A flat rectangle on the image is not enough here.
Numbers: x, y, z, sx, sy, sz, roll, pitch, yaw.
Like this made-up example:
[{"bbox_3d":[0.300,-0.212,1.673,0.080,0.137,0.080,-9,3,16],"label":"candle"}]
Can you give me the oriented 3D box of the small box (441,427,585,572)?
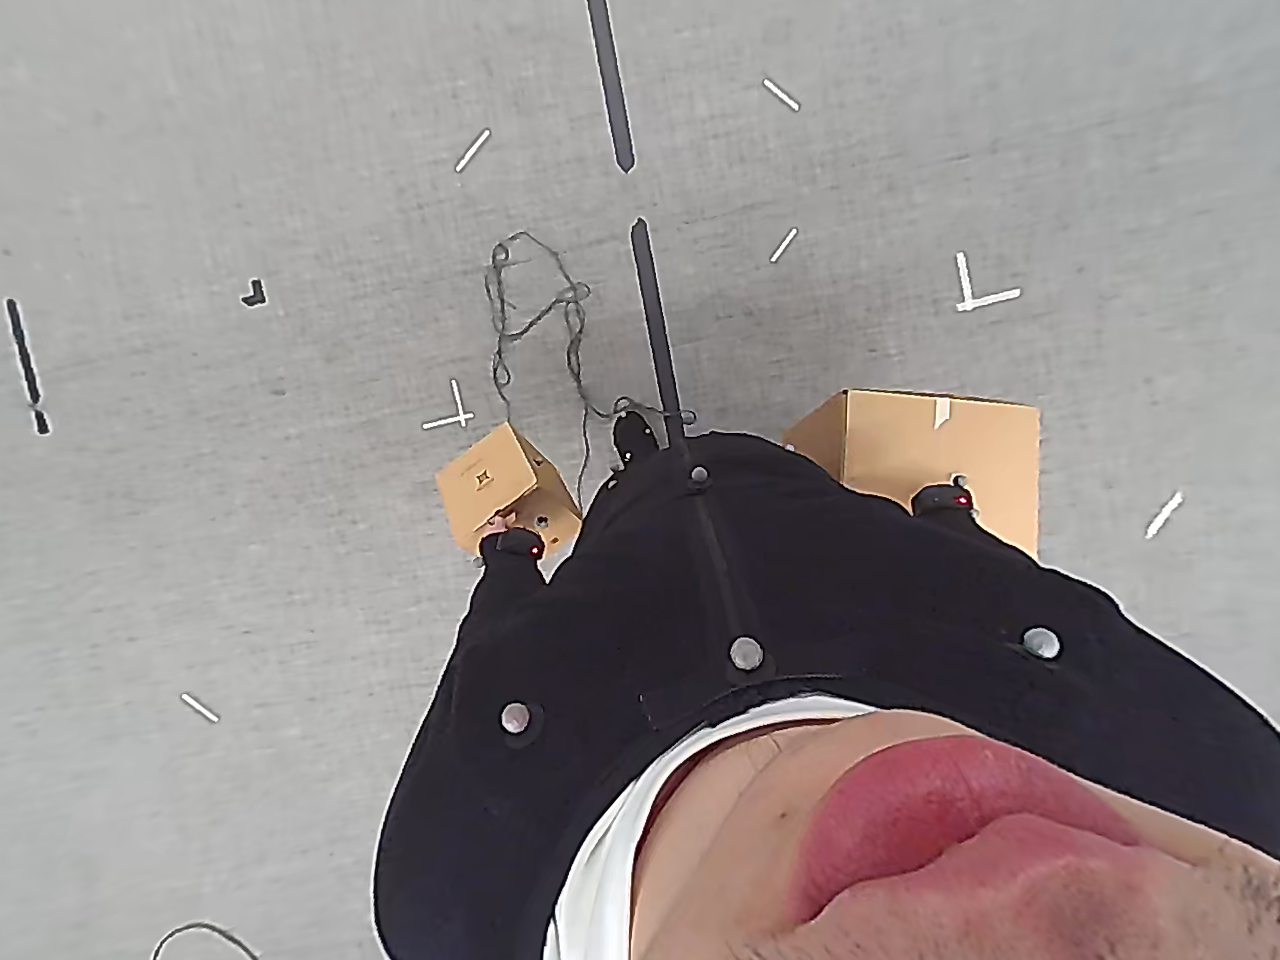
[{"bbox_3d":[-0.224,0.044,0.978,0.168,0.176,0.179,-37,49,2],"label":"small box"}]
